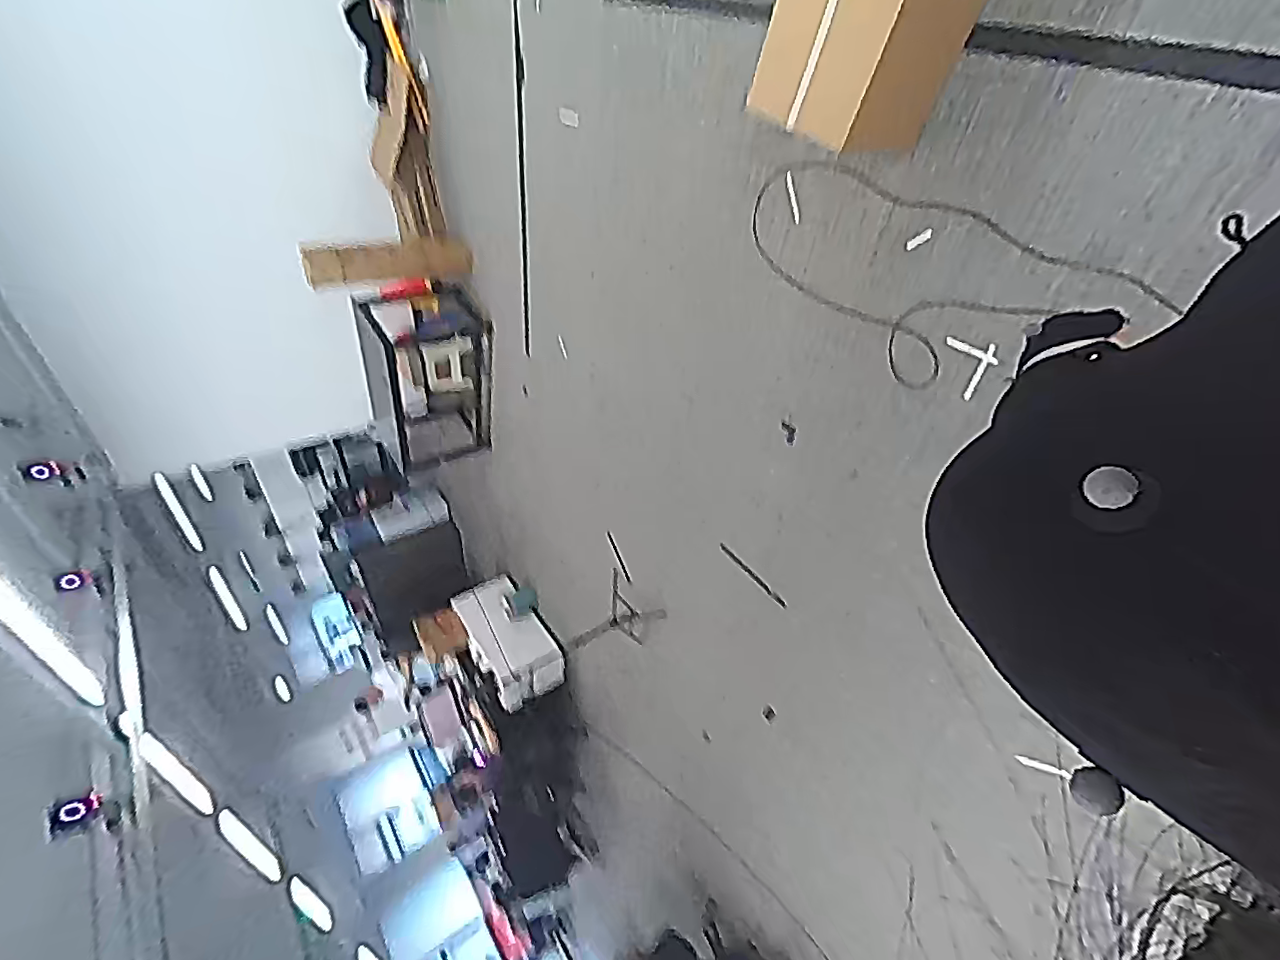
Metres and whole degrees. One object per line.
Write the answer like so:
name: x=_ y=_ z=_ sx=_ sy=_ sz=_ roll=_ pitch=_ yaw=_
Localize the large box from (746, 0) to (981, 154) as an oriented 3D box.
large box: x=0.505 y=-1.005 z=1.207 sx=0.320 sy=0.320 sz=0.408 roll=48 pitch=142 yaw=28
